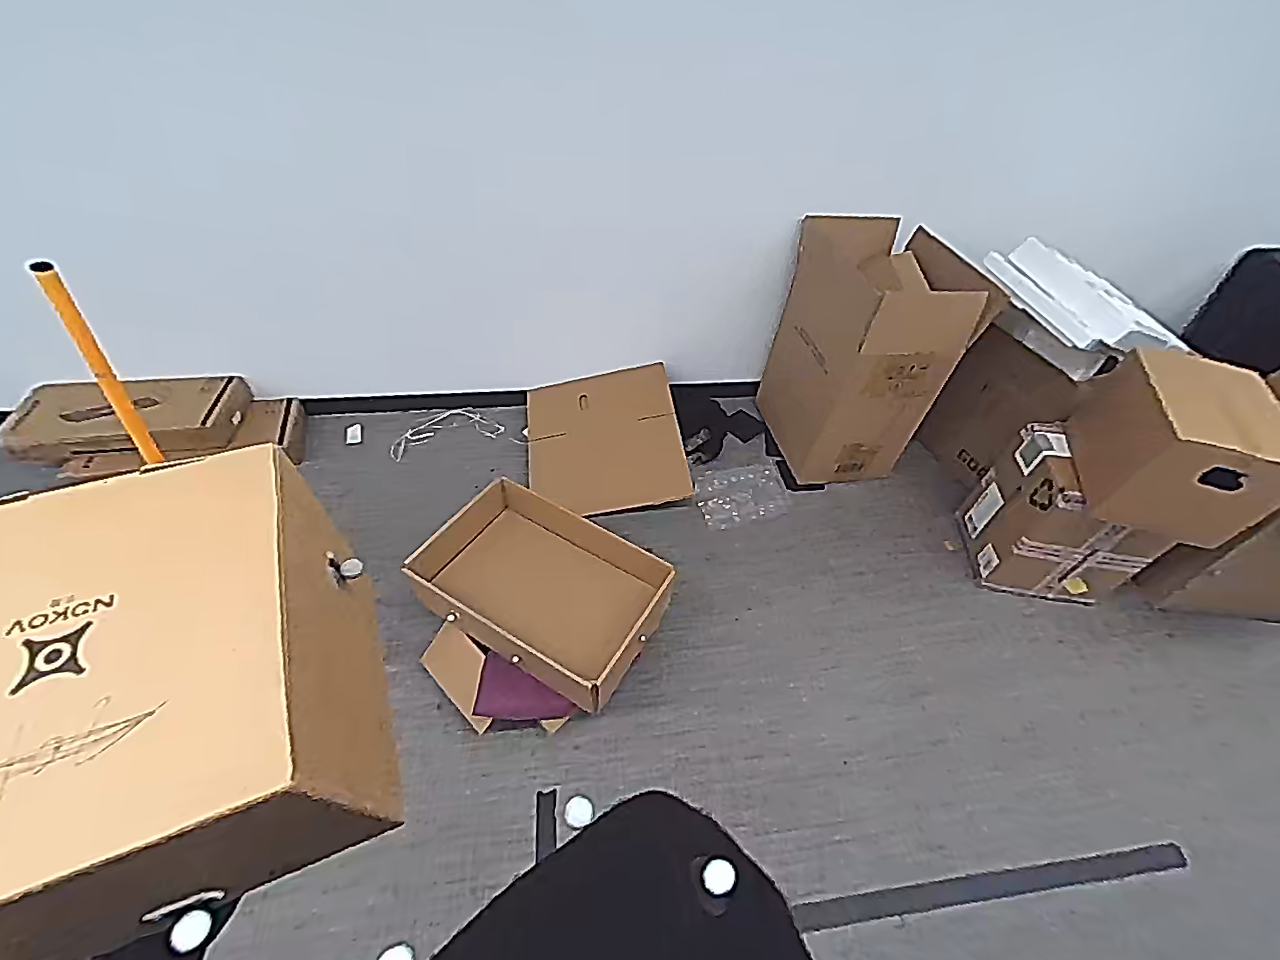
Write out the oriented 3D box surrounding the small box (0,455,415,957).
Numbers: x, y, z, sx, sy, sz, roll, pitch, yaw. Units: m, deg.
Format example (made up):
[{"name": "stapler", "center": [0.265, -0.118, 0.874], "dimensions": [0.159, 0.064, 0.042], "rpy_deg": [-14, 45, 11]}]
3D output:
[{"name": "small box", "center": [-0.237, 0.119, 0.292], "dimensions": [0.168, 0.176, 0.179], "rpy_deg": [-17, 58, -17]}]
